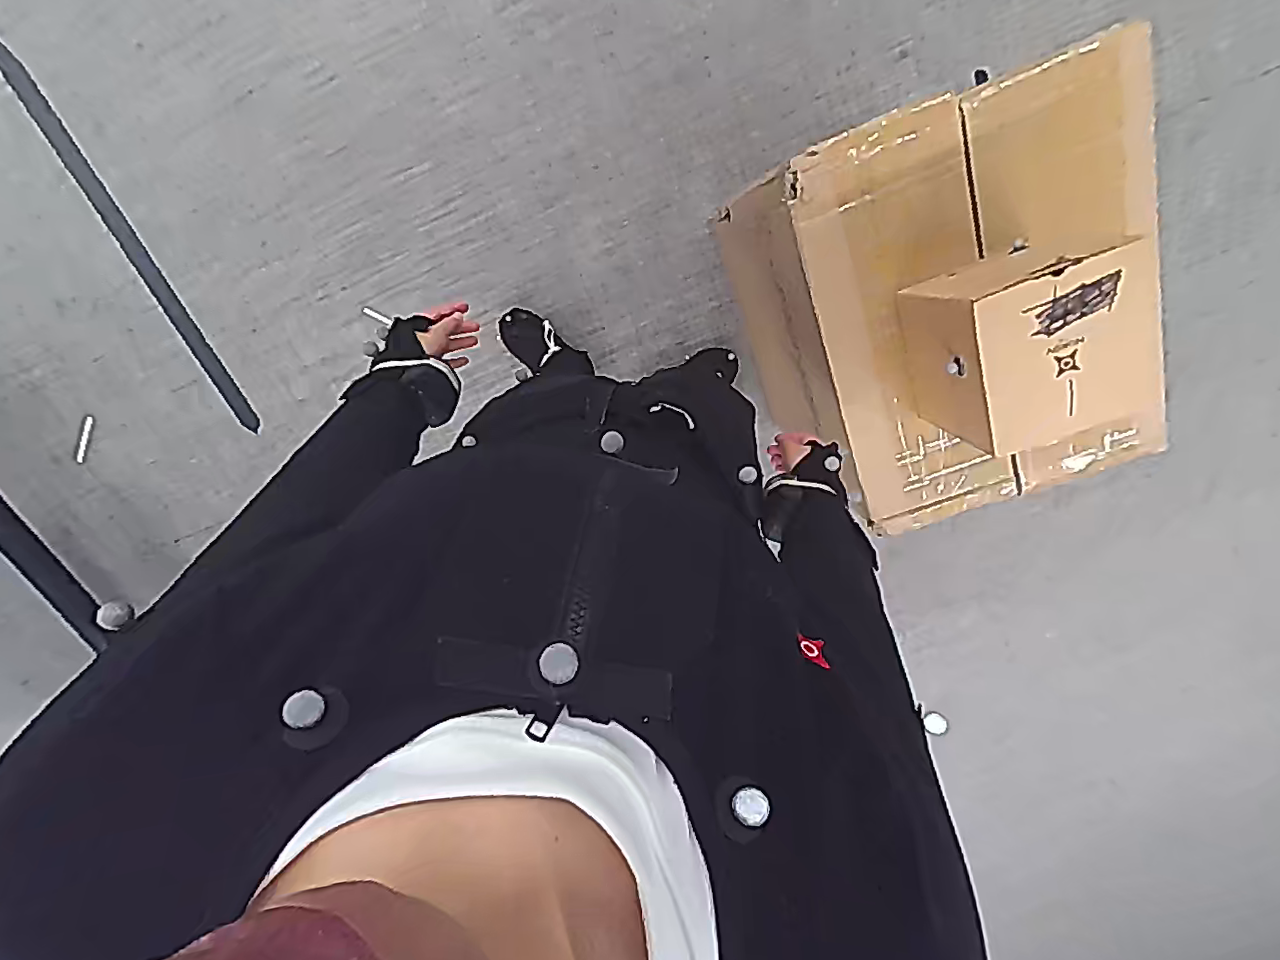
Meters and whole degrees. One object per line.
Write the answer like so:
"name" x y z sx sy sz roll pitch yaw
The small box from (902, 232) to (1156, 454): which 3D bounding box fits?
"small box" 0.421 -0.156 0.610 0.168 0.176 0.179 -19 110 8
